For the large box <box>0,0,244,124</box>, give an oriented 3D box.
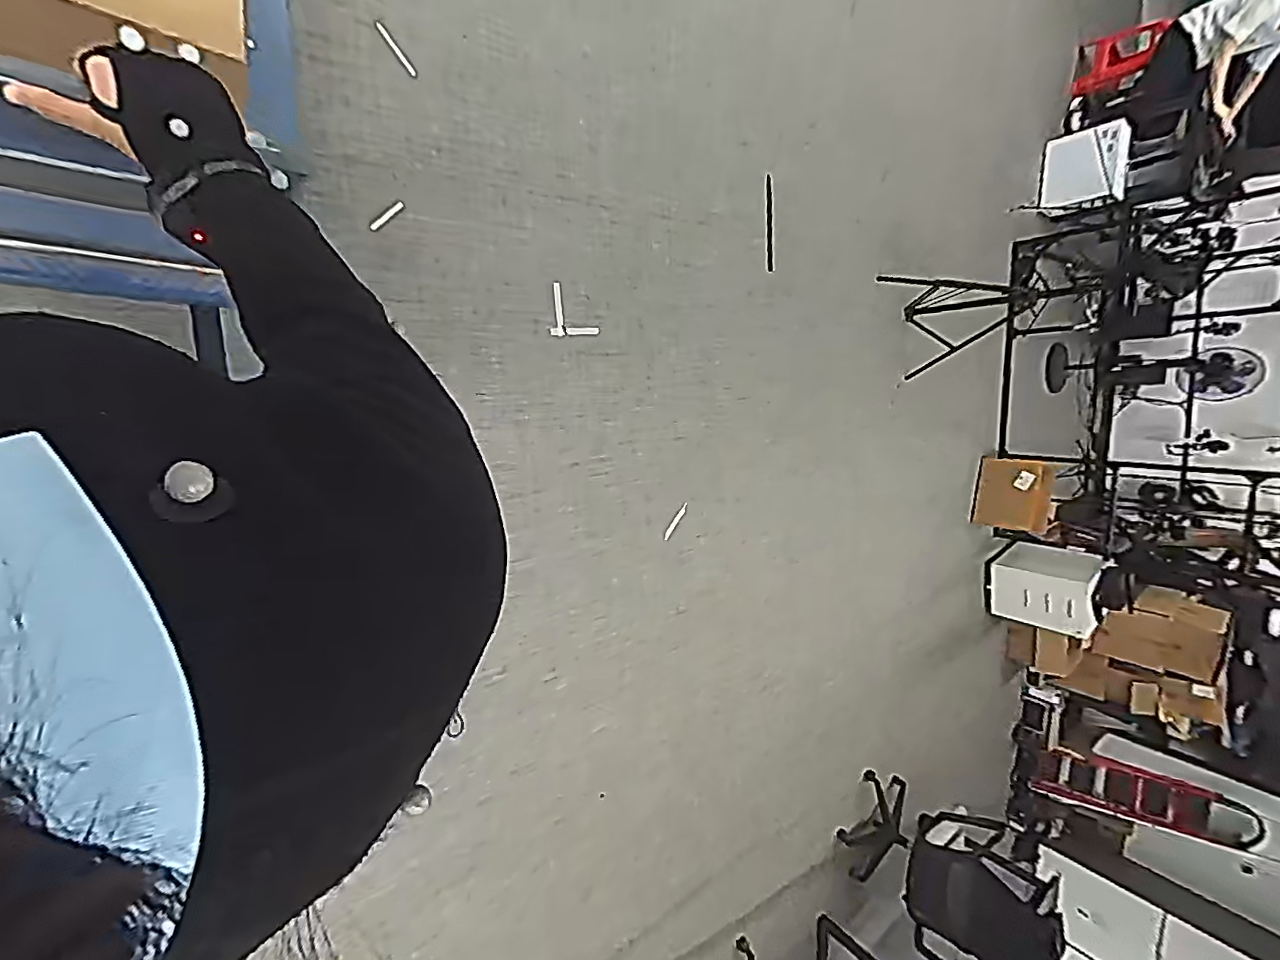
[{"bbox_3d":[-0.828,-0.790,0.777,0.408,0.320,0.320,-3,98,-36],"label":"large box"}]
